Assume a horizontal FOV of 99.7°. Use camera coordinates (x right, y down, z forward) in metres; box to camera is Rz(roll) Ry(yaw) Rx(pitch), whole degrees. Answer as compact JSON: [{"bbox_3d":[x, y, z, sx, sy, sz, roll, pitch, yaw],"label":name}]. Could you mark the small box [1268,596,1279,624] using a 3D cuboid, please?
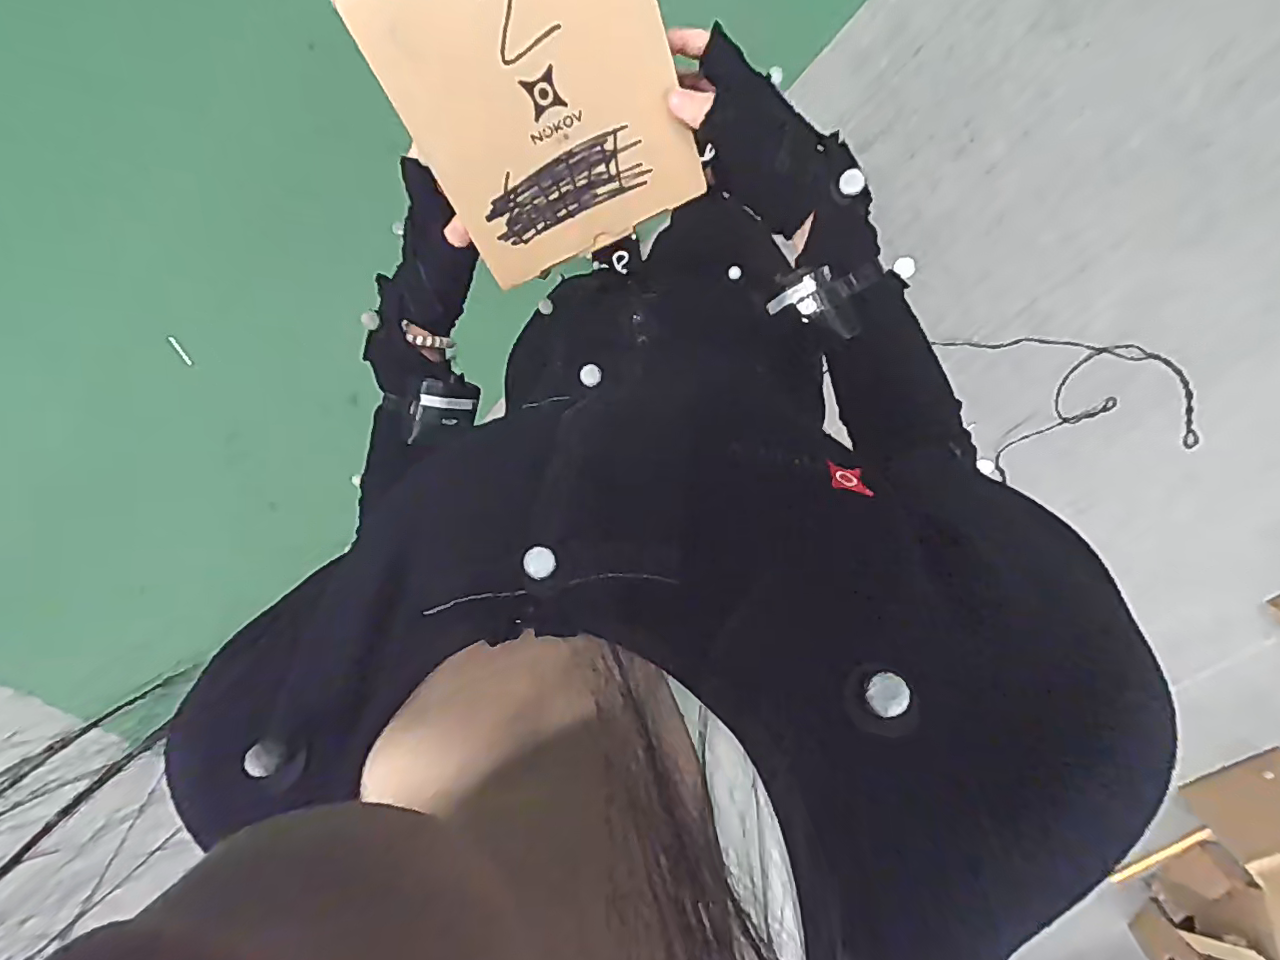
[{"bbox_3d":[2.244,0.458,1.766,0.179,0.176,0.168,39,112,-19],"label":"small box"}]
